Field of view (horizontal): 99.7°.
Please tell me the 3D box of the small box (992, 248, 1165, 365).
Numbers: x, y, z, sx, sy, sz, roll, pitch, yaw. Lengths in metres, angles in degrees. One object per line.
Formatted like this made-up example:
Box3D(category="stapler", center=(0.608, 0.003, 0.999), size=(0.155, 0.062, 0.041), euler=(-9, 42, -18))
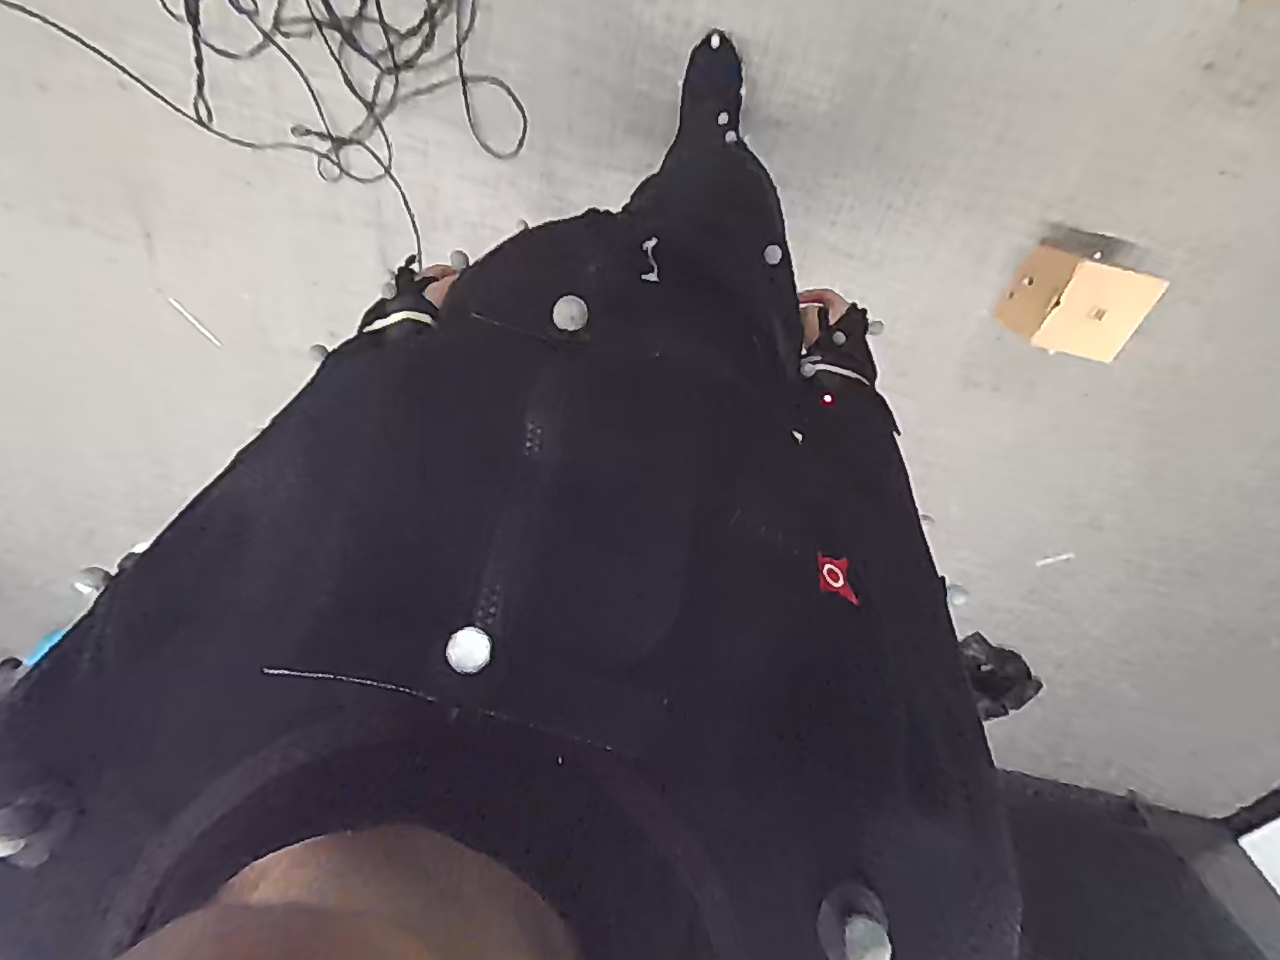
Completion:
Box3D(category="small box", center=(0.873, -0.356, 1.097), size=(0.179, 0.176, 0.168), euler=(13, 124, -3))
